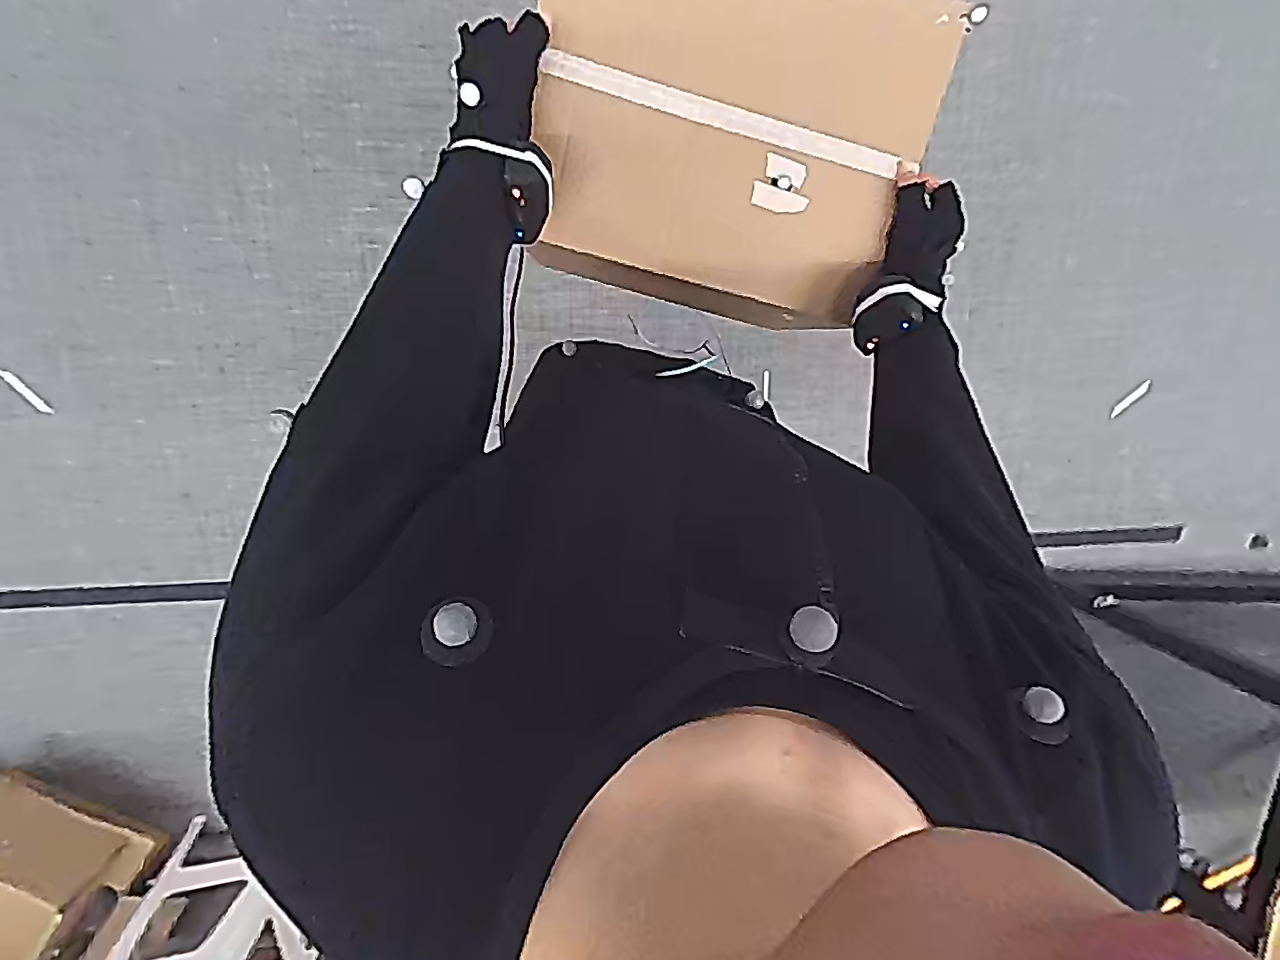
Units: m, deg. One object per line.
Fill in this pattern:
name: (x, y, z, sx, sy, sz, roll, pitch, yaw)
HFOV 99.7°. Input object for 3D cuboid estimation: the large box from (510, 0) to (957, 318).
large box: (0.077, -0.409, 0.688, 0.408, 0.320, 0.320, 12, 105, -8)
